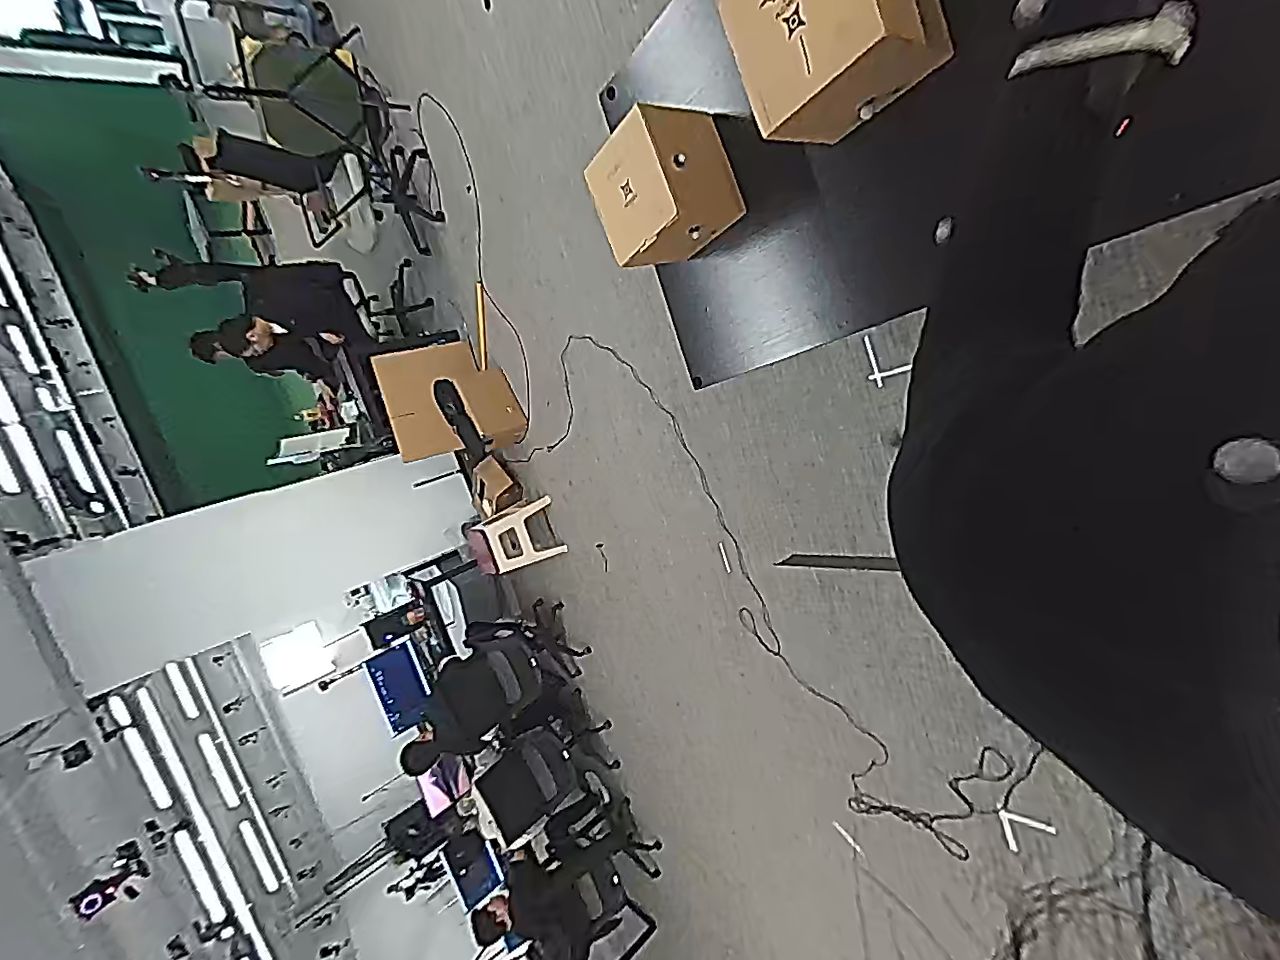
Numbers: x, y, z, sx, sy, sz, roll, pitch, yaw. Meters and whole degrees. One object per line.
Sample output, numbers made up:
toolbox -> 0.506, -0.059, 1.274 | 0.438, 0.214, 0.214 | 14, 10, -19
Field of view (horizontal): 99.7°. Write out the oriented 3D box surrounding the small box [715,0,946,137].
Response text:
small box -> 0.221, -0.532, 0.629 | 0.168, 0.176, 0.179 | -13, 99, 54

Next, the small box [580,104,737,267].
small box -> 0.034, -0.481, 0.899 | 0.168, 0.176, 0.179 | -17, 94, 53
